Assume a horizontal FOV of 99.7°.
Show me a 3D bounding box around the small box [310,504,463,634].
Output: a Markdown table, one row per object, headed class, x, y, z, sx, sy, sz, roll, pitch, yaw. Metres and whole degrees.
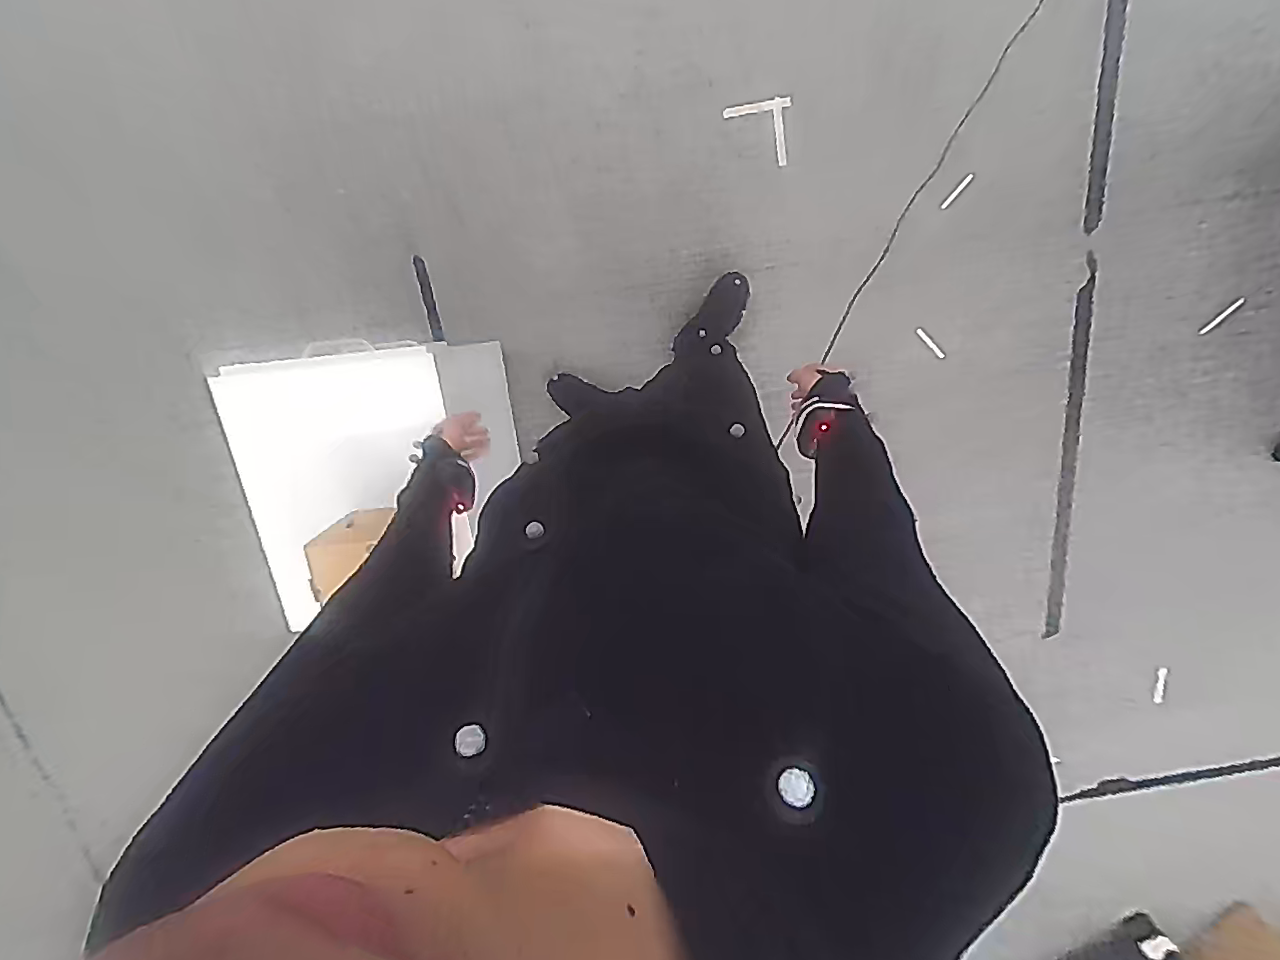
| class | x | y | z | sx | sy | sz | roll | pitch | yaw |
| --- | --- | --- | --- | --- | --- | --- | --- | --- | --- |
| small box | -0.437 | 0.151 | 0.961 | 0.179 | 0.176 | 0.168 | -6 | 107 | 0 |
